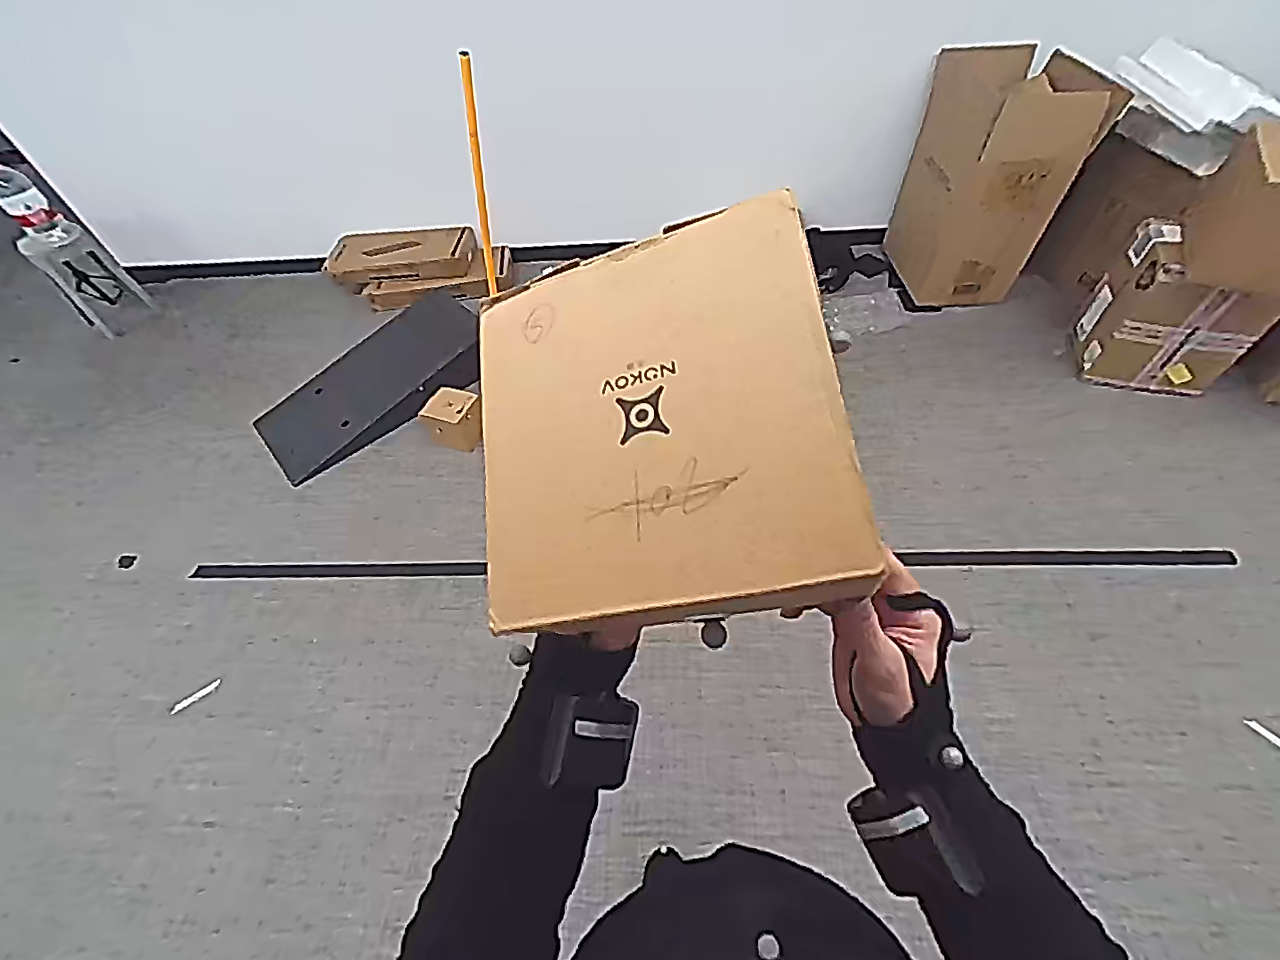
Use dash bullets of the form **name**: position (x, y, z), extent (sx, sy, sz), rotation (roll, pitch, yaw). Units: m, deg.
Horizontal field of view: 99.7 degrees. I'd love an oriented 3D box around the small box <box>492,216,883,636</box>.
- **small box**: position (0.032, -0.007, 0.322), extent (0.168, 0.176, 0.179), rotation (-13, 73, 18)
